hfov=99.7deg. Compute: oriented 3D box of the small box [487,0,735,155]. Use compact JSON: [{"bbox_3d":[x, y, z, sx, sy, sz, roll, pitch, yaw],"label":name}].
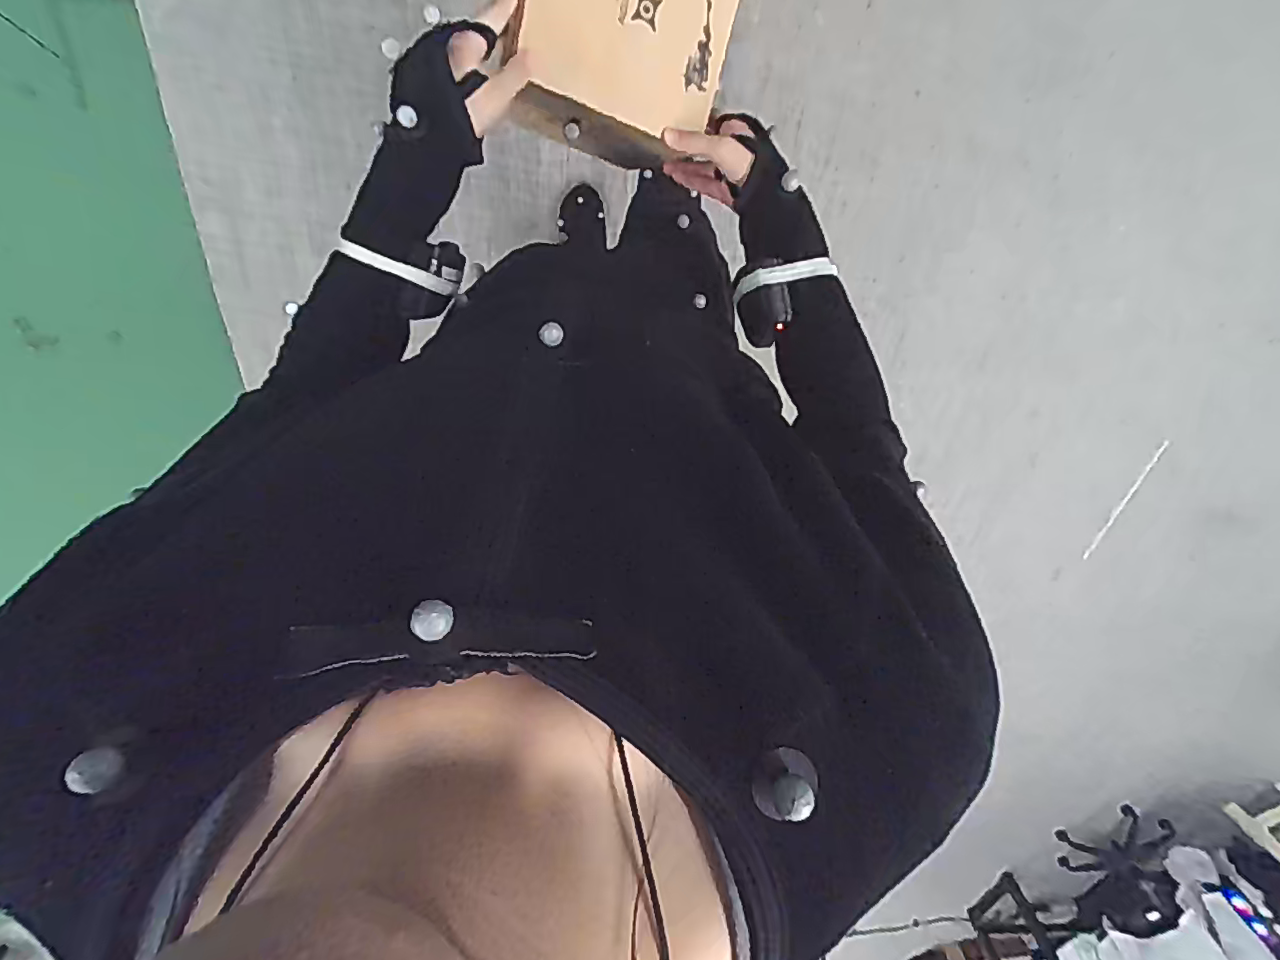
[{"bbox_3d":[-0.033,-0.414,0.487,0.179,0.176,0.168,7,112,-25],"label":"small box"}]
